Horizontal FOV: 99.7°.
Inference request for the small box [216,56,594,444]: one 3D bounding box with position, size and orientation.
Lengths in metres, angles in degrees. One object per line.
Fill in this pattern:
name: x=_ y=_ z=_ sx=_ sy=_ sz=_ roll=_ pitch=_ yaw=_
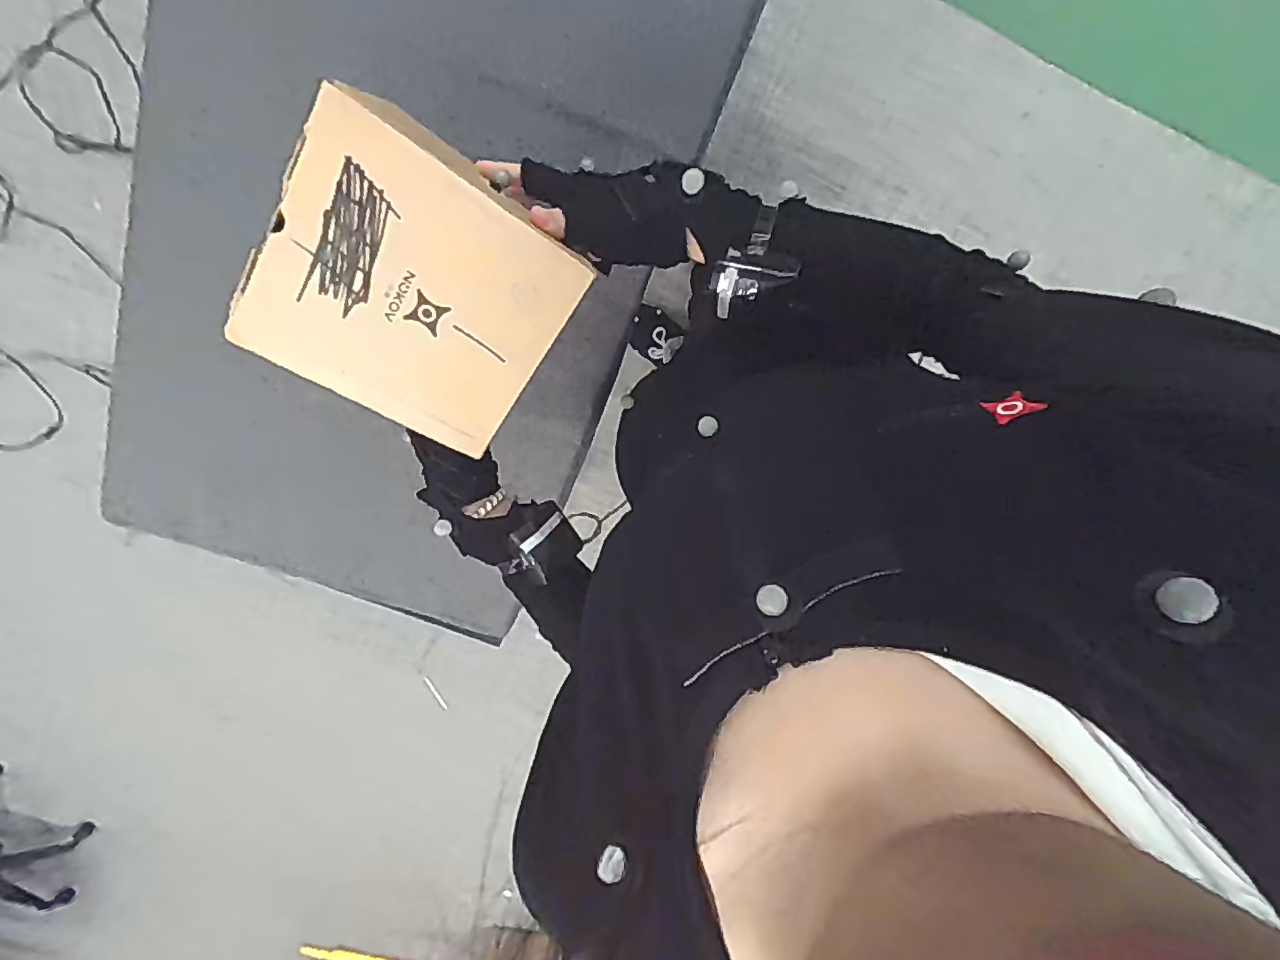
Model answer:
small box: x=-0.158 y=-0.162 z=0.410 sx=0.179 sy=0.176 sz=0.168 roll=30 pitch=110 yaw=-25
